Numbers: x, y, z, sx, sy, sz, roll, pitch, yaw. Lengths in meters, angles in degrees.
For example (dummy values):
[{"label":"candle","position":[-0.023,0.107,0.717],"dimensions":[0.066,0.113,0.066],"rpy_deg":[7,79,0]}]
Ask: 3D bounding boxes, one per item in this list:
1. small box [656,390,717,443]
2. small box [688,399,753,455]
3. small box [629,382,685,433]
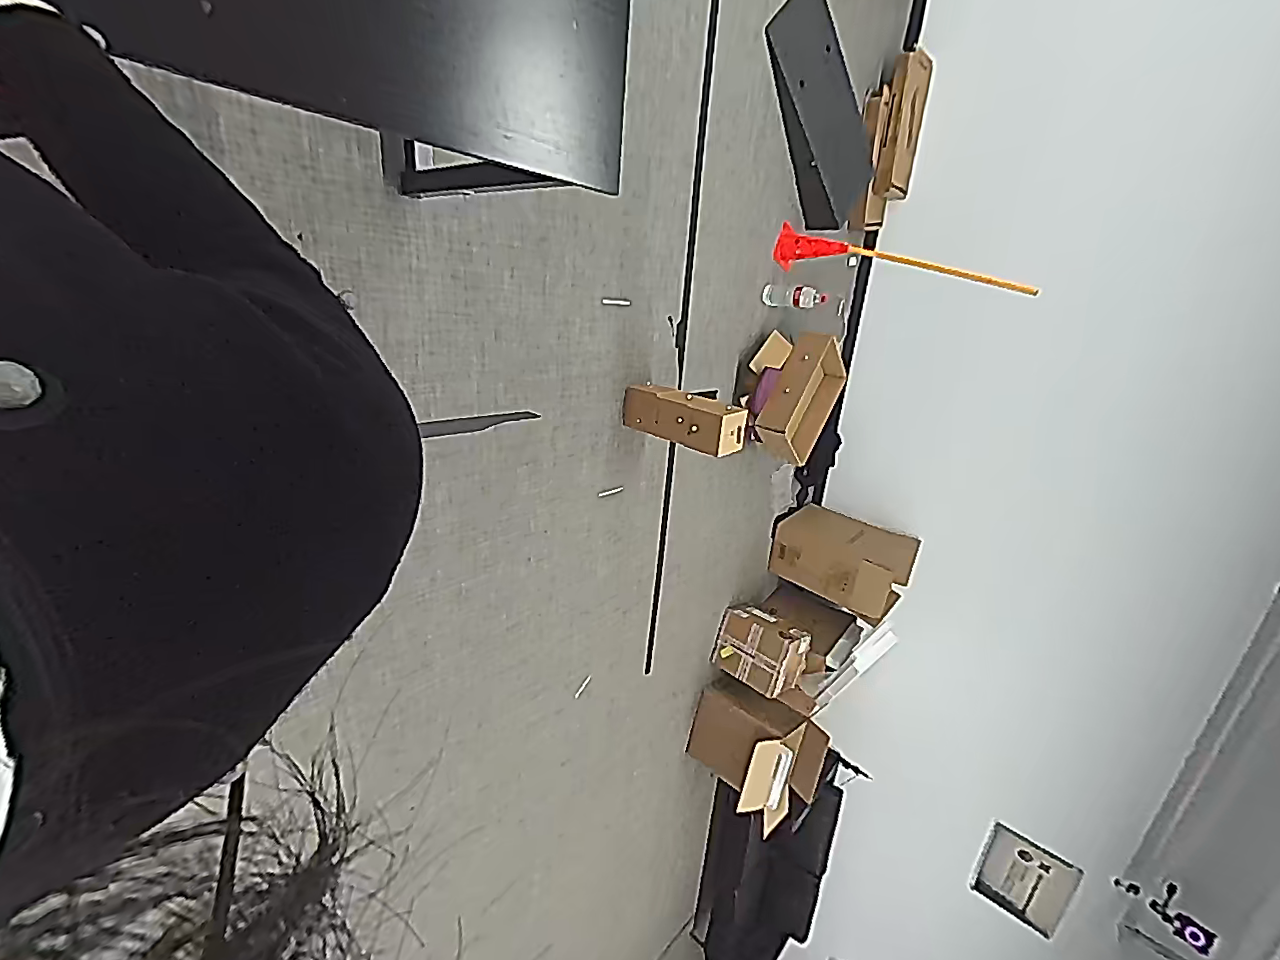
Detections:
[{"label":"small box","position":[0.188,-0.262,2.190],"dimensions":[0.179,0.176,0.168],"rpy_deg":[-20,121,-46]},{"label":"small box","position":[0.310,-0.210,2.092],"dimensions":[0.179,0.176,0.168],"rpy_deg":[-19,121,-45]},{"label":"small box","position":[0.068,-0.311,2.290],"dimensions":[0.168,0.176,0.179],"rpy_deg":[-17,119,-46]}]
